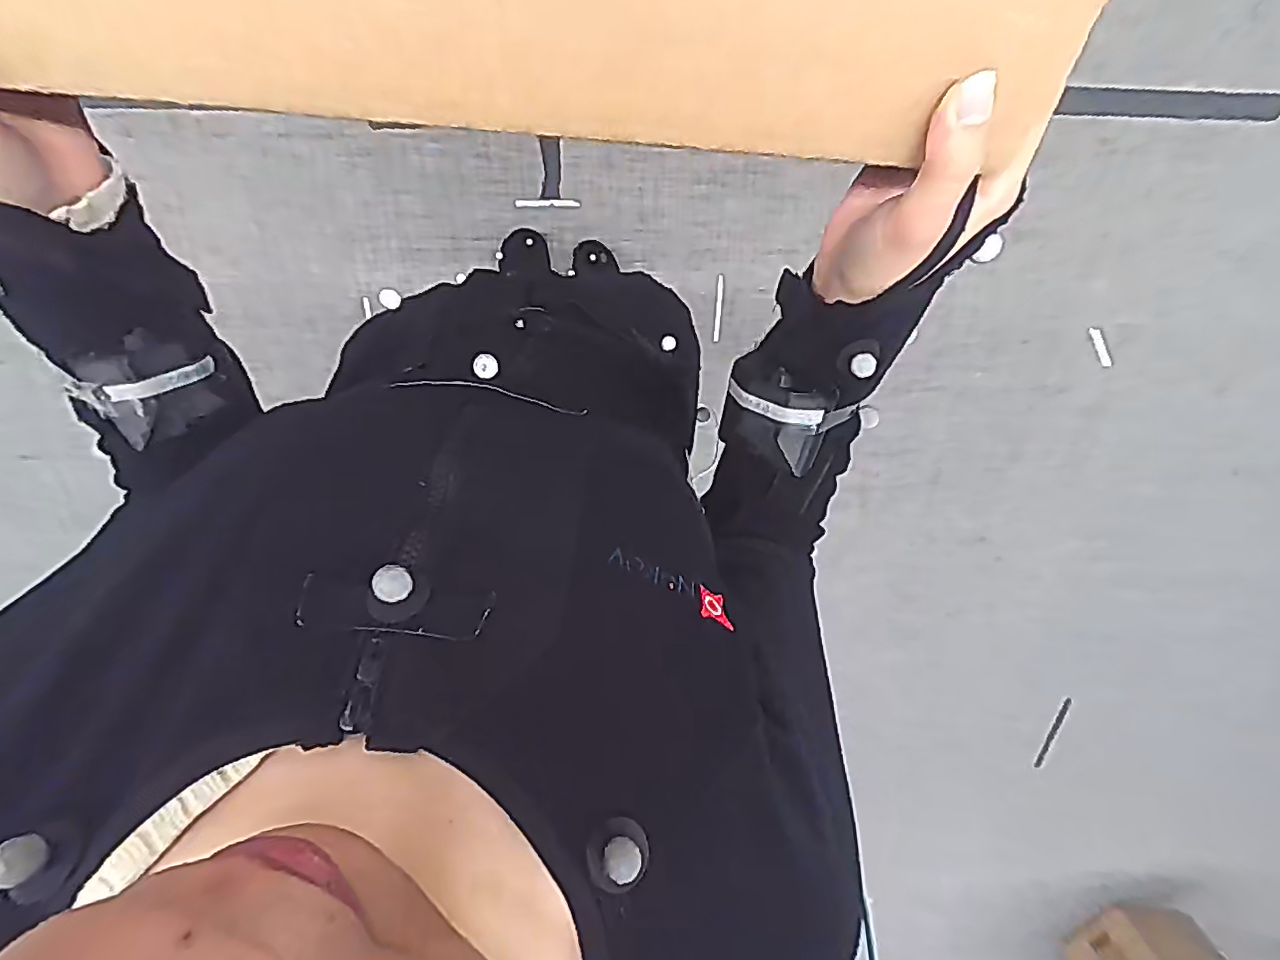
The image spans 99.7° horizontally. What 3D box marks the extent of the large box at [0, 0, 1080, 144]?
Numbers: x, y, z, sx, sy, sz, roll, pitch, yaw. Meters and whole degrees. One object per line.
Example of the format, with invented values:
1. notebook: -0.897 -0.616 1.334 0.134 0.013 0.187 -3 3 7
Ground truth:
1. large box: -0.047 -0.348 0.175 0.408 0.320 0.320 2 143 -4
